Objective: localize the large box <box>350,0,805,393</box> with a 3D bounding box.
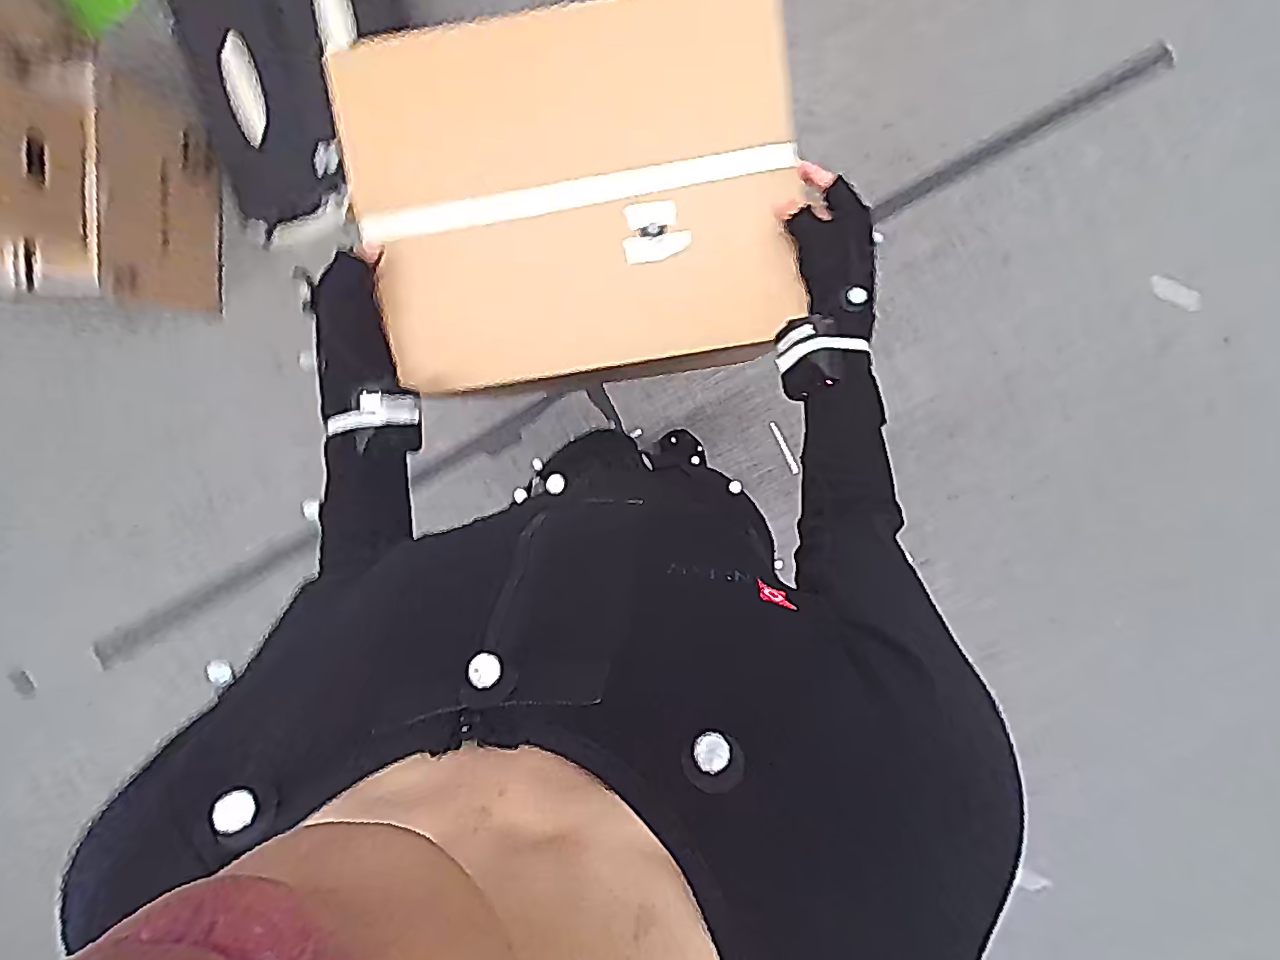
[{"bbox_3d":[-0.054,-0.294,0.665,0.408,0.320,0.320,-8,99,2],"label":"large box"}]
